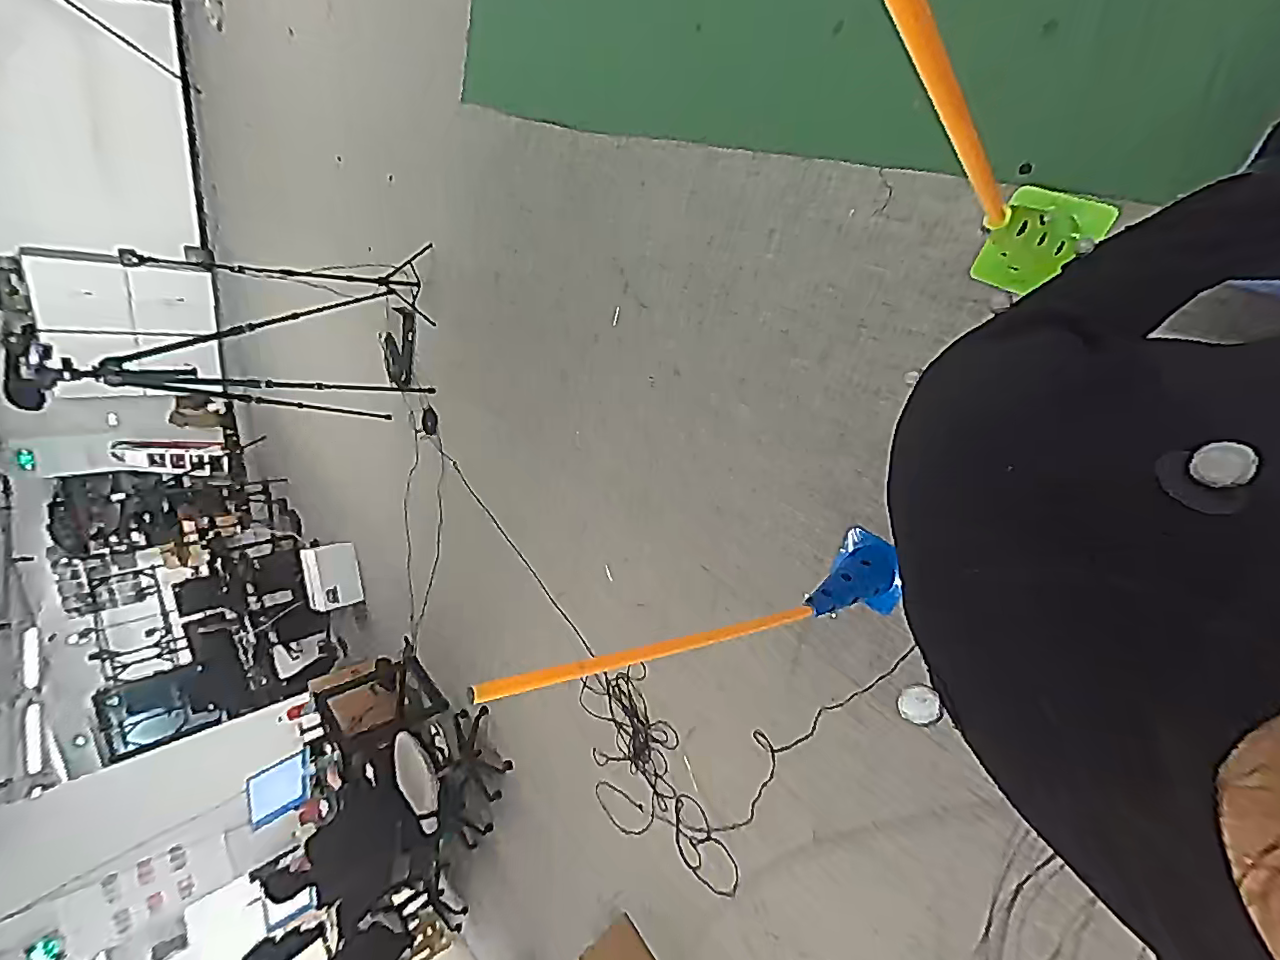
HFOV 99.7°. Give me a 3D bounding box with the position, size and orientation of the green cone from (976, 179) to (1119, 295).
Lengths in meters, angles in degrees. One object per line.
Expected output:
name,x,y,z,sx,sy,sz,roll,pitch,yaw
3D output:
green cone,0.748,-0.501,1.053,0.202,0.368,0.200,40,125,34
